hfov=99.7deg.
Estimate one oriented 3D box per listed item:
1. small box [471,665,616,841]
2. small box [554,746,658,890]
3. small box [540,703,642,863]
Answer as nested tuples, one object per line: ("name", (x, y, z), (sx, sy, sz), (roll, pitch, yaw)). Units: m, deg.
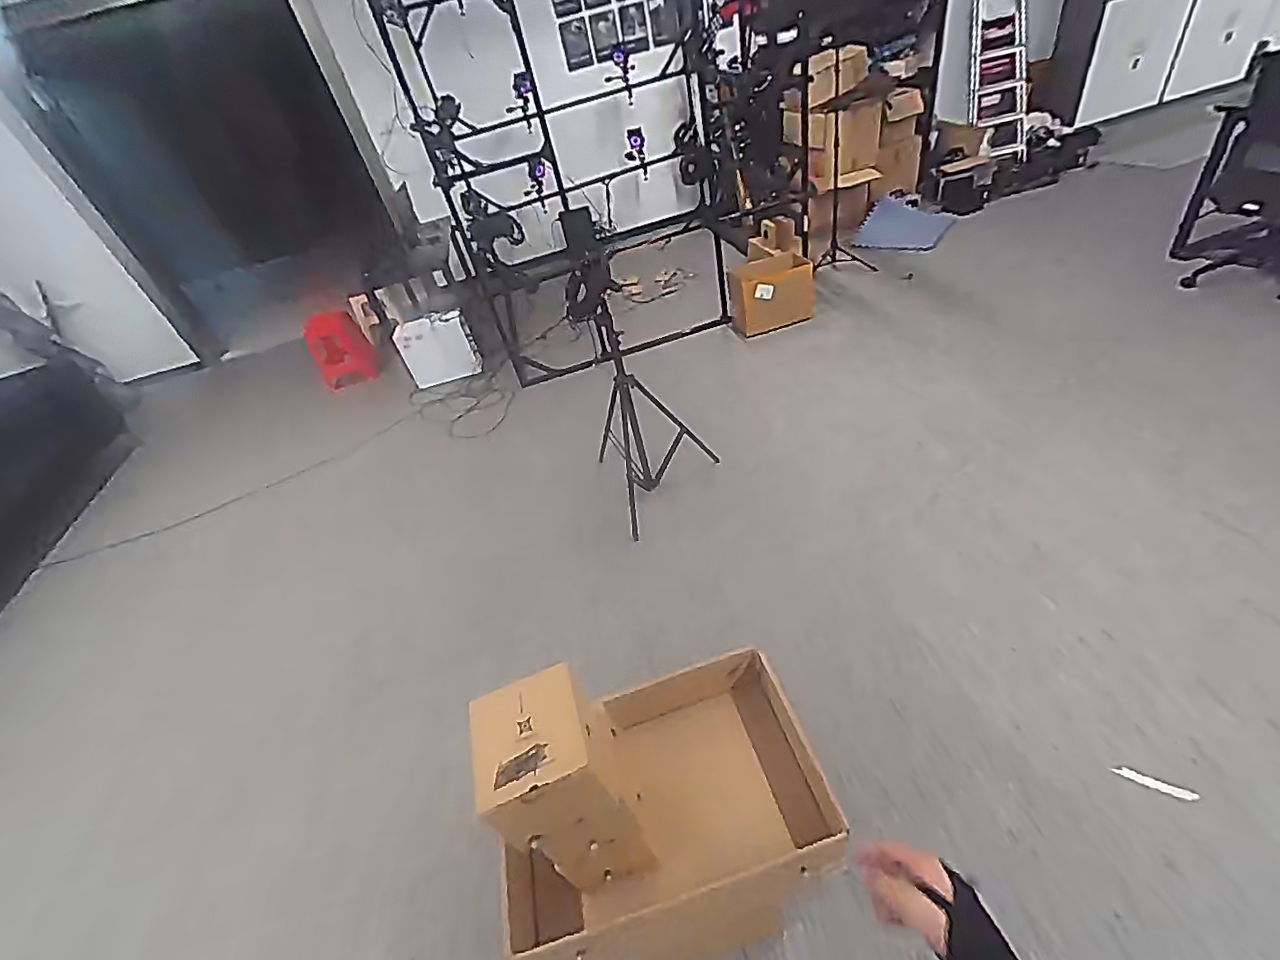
("small box", (-0.149, 0.433, 0.849), (0.168, 0.176, 0.179), (-21, 40, -6))
("small box", (-0.075, 0.666, 1.069), (0.168, 0.176, 0.179), (-19, 40, -3))
("small box", (-0.106, 0.541, 0.967), (0.168, 0.176, 0.179), (-19, 41, -4))
